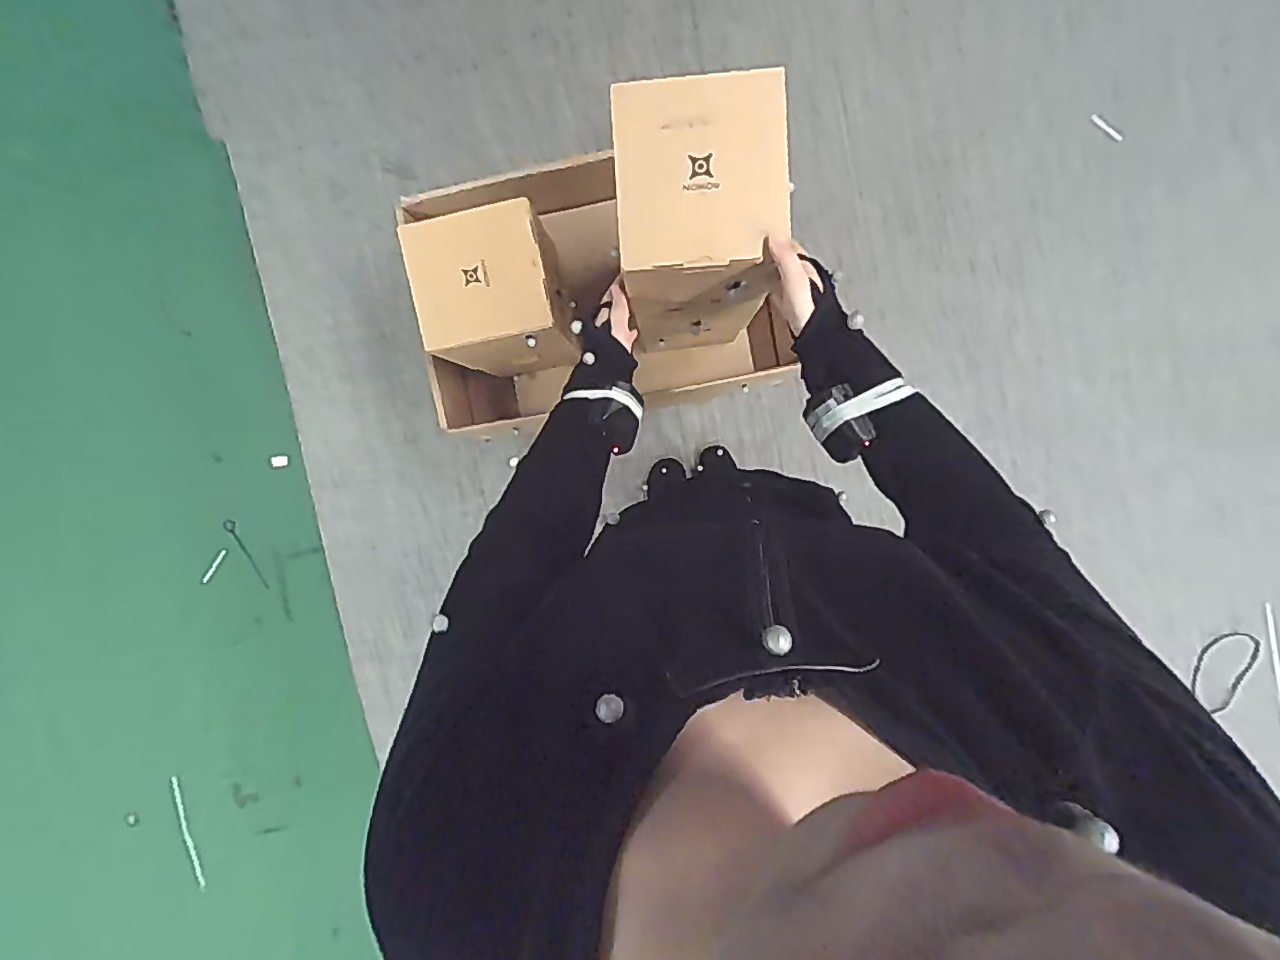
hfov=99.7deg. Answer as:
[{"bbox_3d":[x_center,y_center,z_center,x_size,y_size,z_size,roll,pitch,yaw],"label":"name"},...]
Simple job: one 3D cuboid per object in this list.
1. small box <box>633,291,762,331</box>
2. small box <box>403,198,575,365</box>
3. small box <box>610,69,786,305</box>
[{"bbox_3d":[0.074,-0.311,0.757,0.168,0.176,0.179,-4,95,4],"label":"small box"},{"bbox_3d":[-0.205,-0.272,0.781,0.179,0.176,0.168,-12,93,3],"label":"small box"},{"bbox_3d":[0.062,-0.299,0.594,0.168,0.176,0.179,-3,93,4],"label":"small box"}]
